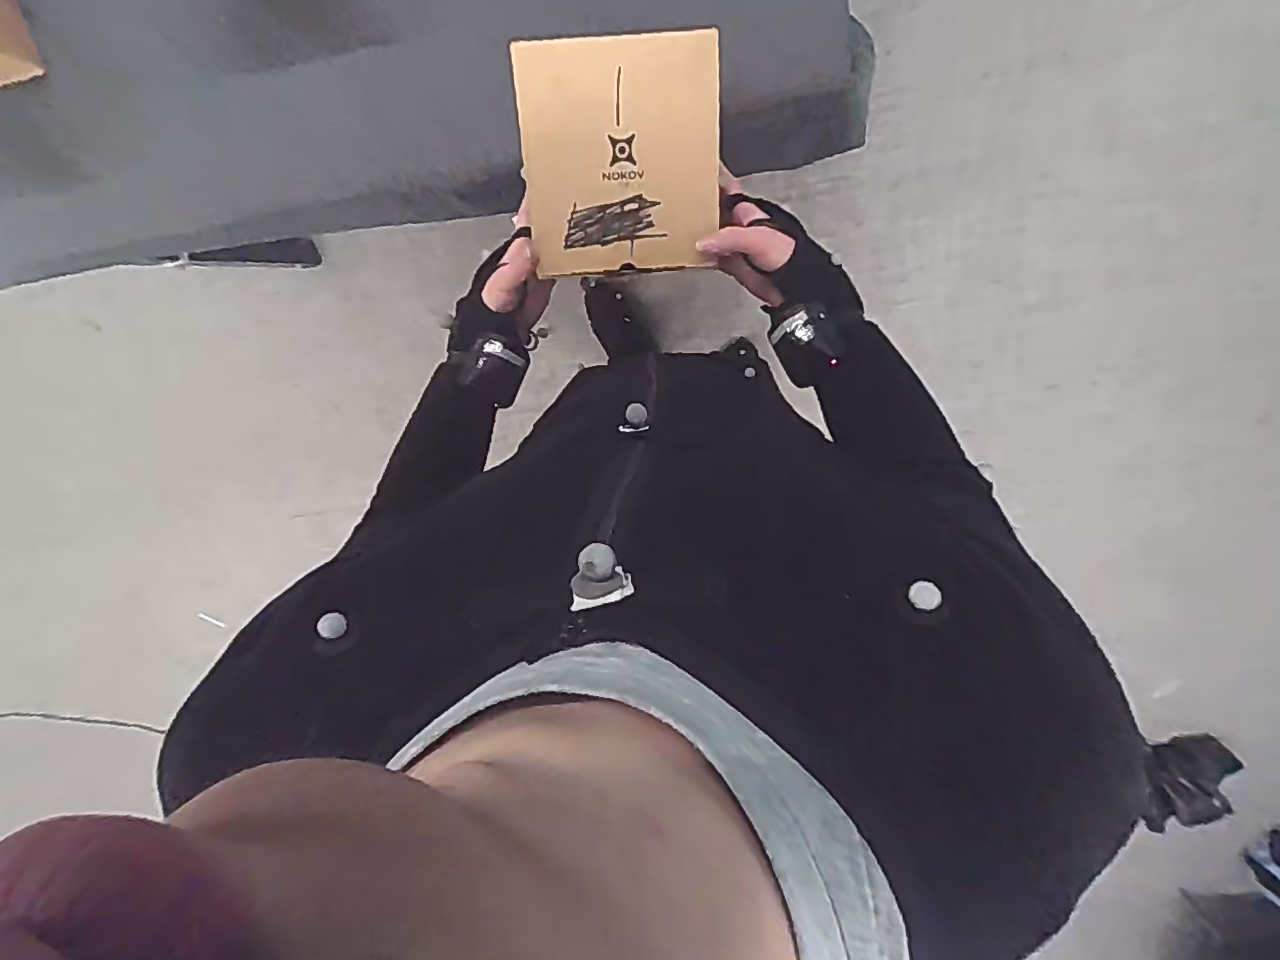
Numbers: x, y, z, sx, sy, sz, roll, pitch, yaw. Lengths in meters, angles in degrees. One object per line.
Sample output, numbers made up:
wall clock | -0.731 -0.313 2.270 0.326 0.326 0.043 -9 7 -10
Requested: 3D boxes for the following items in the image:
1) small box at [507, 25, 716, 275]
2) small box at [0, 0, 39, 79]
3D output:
small box | -0.020 -0.296 0.524 0.168 0.176 0.179 -3 110 0
small box | -0.819 -0.544 0.561 0.168 0.176 0.179 -9 110 6
